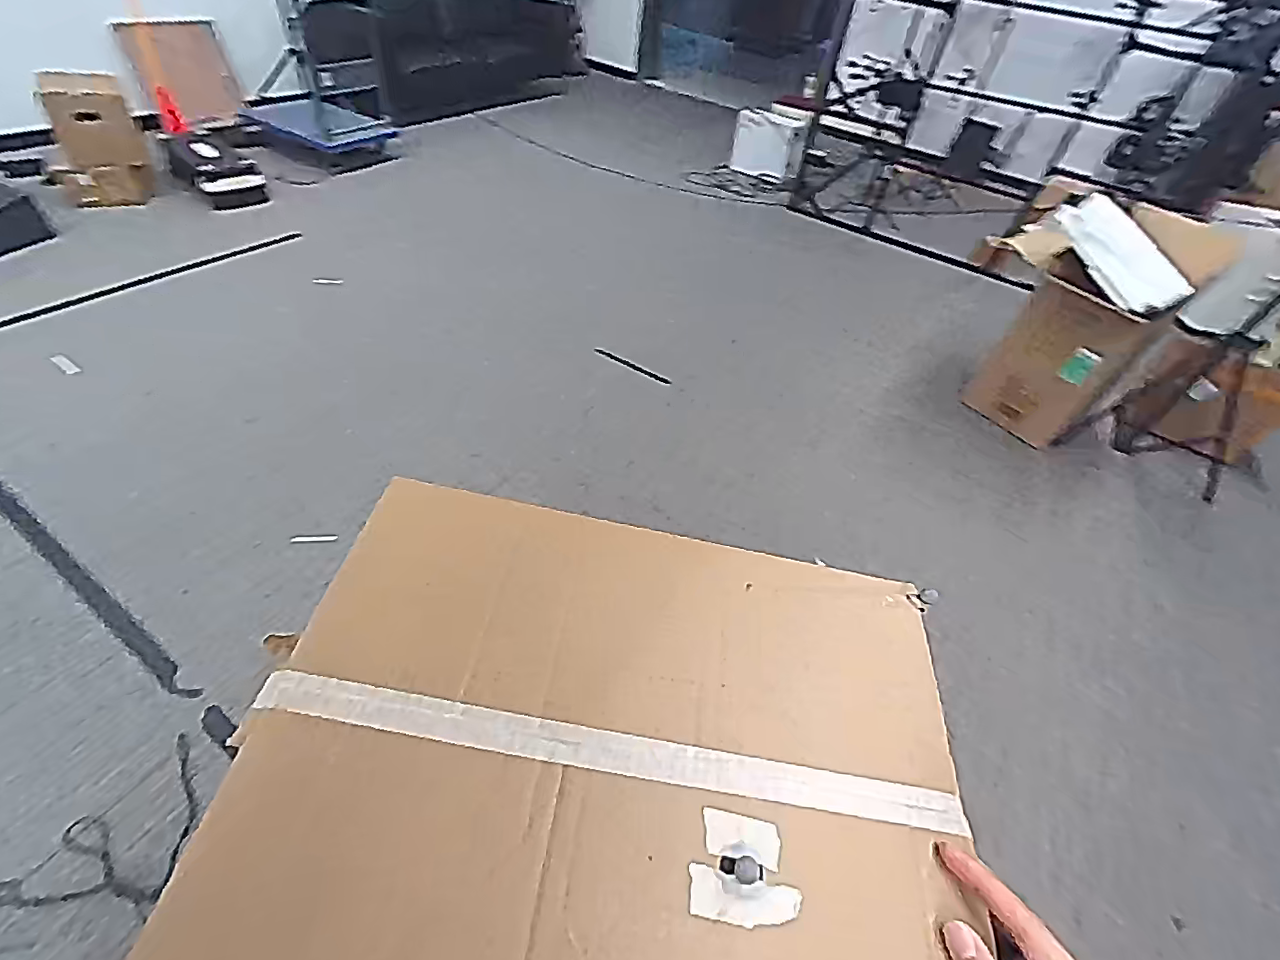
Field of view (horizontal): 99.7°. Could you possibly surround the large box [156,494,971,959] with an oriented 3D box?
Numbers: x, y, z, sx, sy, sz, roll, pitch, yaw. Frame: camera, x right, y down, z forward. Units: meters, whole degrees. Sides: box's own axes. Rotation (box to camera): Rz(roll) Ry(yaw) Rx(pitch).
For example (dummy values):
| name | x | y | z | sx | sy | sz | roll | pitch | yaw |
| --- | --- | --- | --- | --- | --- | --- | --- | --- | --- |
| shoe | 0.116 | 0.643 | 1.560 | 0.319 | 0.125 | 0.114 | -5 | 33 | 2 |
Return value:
| name | x | y | z | sx | sy | sz | roll | pitch | yaw |
| --- | --- | --- | --- | --- | --- | --- | --- | --- | --- |
| large box | -0.035 | 0.254 | 0.438 | 0.408 | 0.320 | 0.320 | 12 | 52 | -3 |
